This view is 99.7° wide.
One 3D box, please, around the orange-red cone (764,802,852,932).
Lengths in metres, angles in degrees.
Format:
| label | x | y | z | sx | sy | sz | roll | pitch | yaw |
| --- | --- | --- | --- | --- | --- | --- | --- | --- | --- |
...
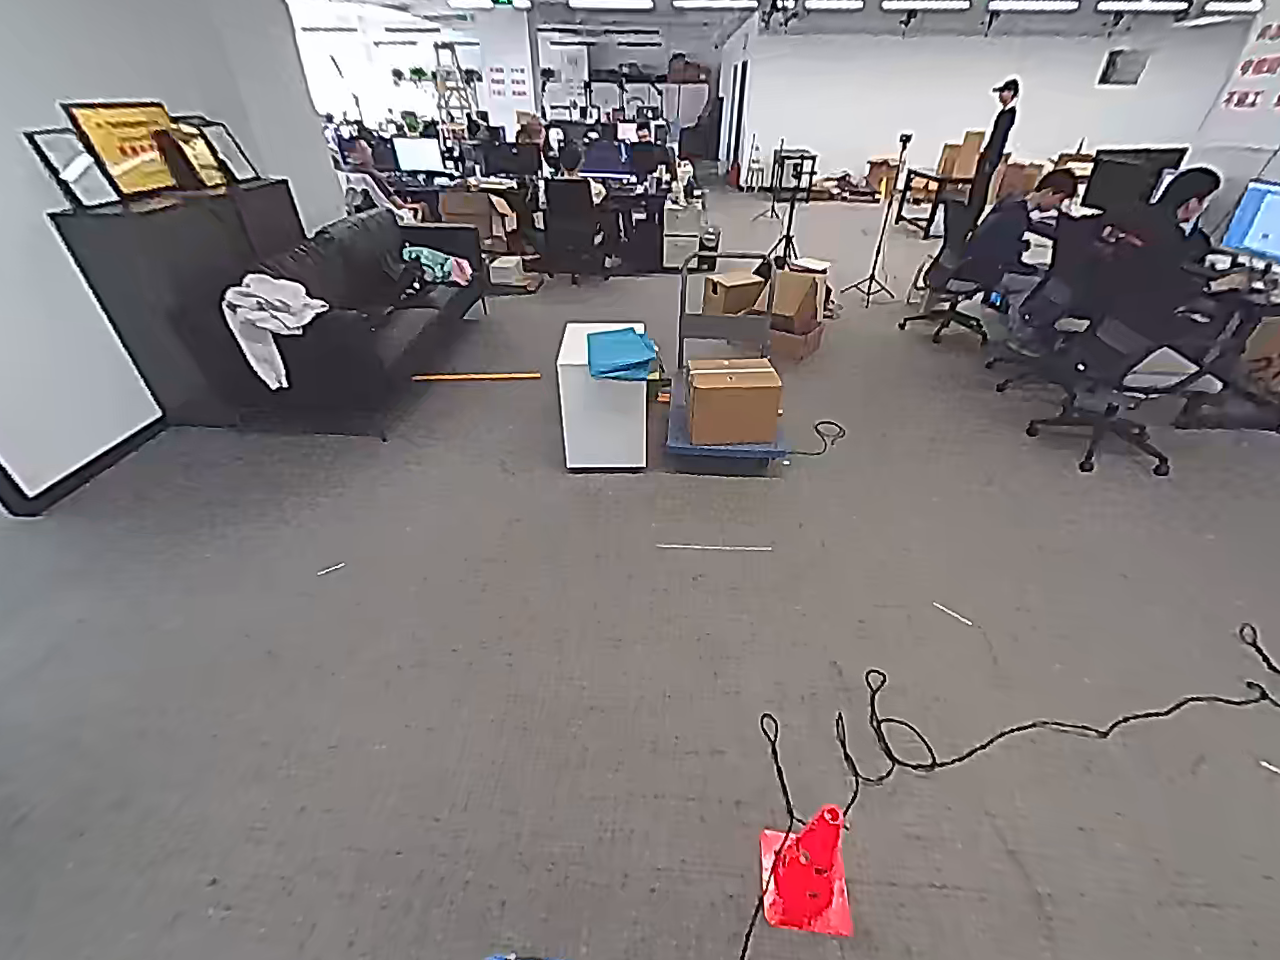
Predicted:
| label | x | y | z | sx | sy | sz | roll | pitch | yaw |
| --- | --- | --- | --- | --- | --- | --- | --- | --- | --- |
| orange-red cone | 0.398 | 0.823 | 1.208 | 0.198 | 0.360 | 0.199 | 4 | 37 | 7 |
